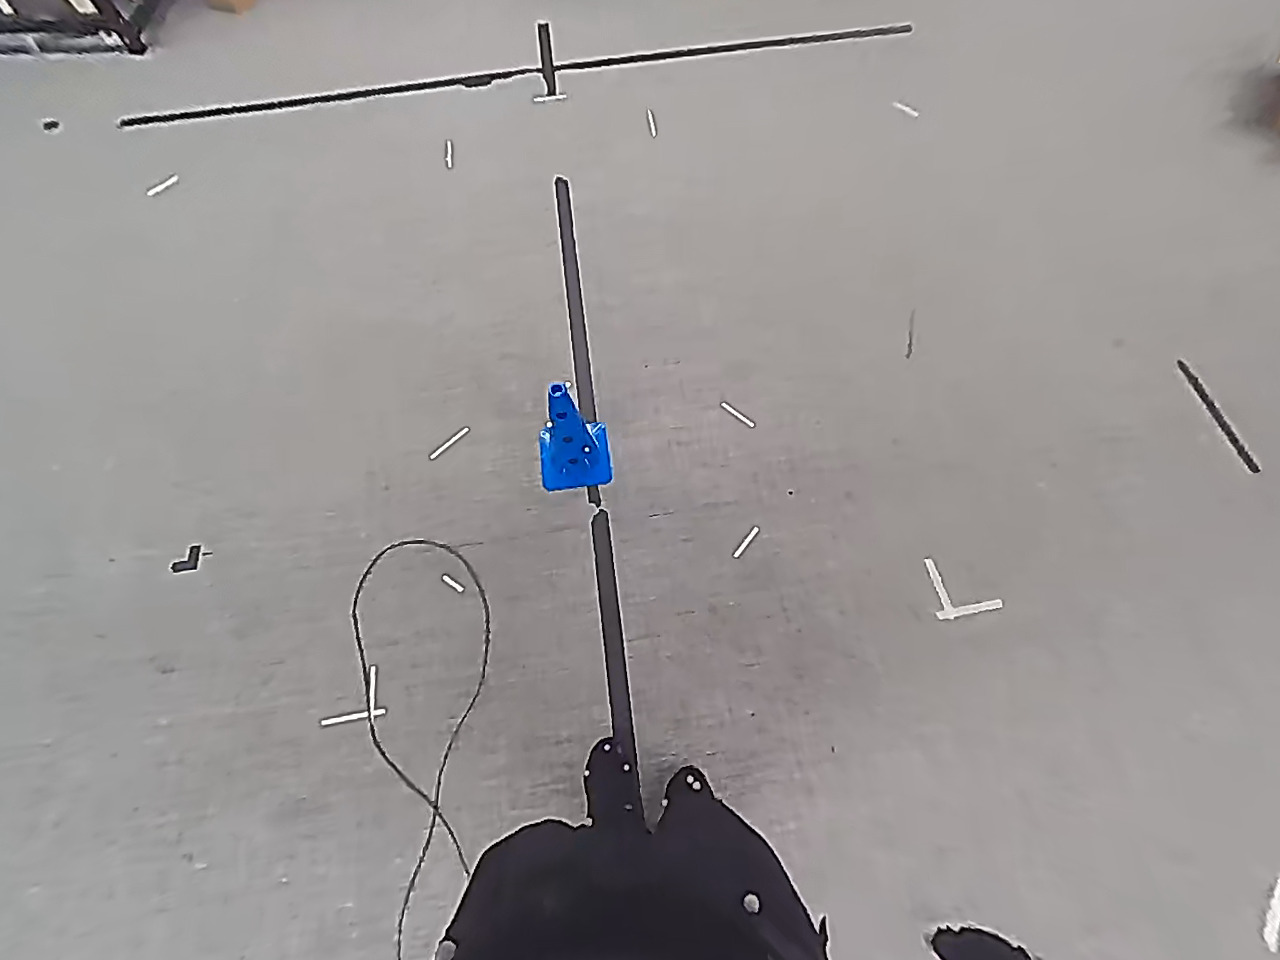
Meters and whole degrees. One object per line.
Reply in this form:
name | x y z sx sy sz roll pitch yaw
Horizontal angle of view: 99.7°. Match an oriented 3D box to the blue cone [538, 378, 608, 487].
blue cone | -0.193 -0.137 1.395 0.193 0.380 0.192 -9 67 -2
